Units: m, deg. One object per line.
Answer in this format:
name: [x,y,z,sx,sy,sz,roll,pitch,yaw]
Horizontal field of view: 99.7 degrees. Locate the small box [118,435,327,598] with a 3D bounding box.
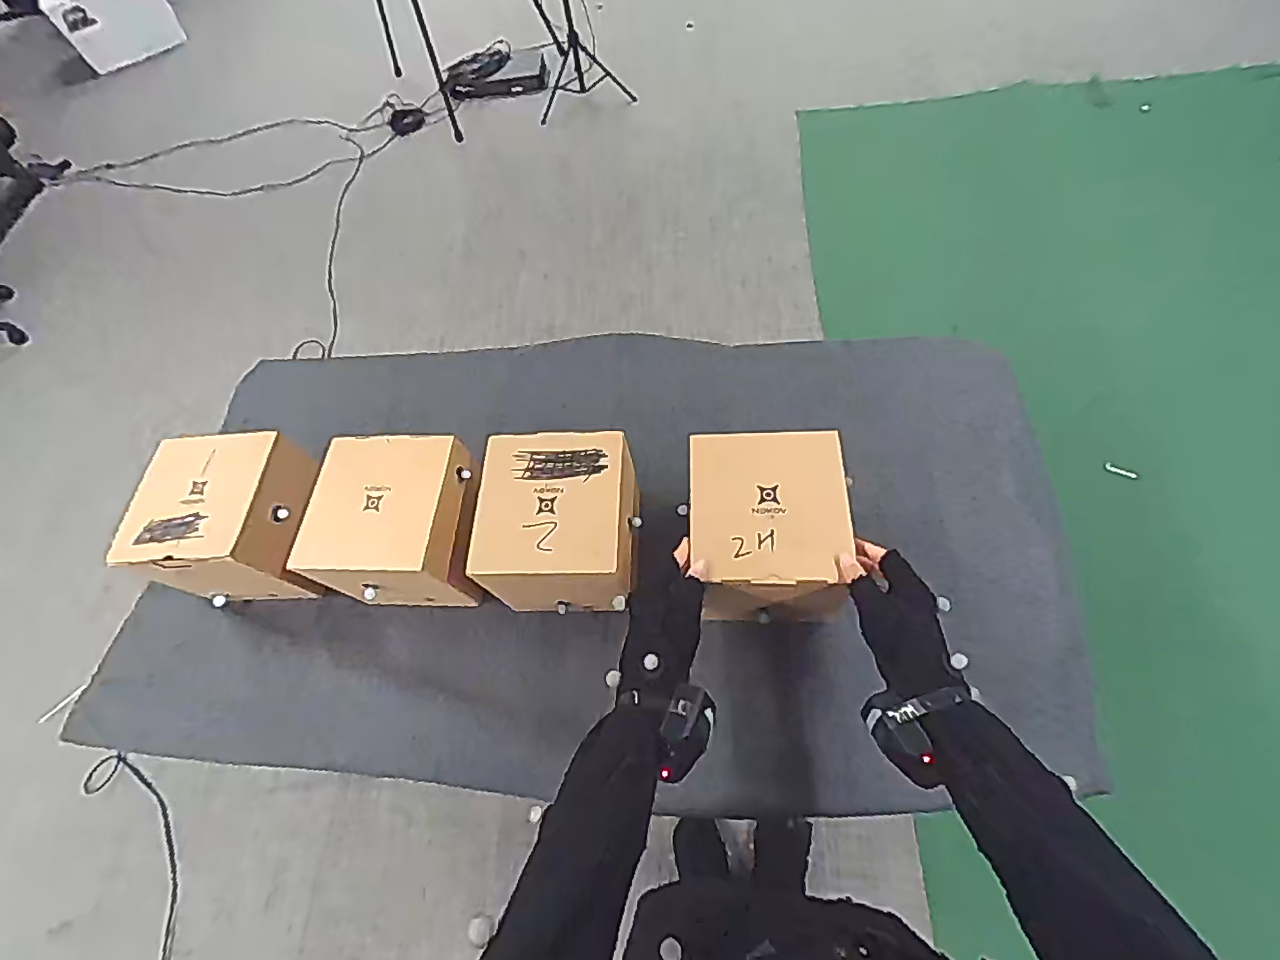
small box: [-0.531,0.059,0.742,0.168,0.176,0.179,-3,61,6]

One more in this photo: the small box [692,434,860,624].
small box: [0.148,0.063,0.644,0.168,0.176,0.179,-2,63,8]

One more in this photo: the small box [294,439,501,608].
small box: [-0.297,0.063,0.709,0.168,0.176,0.179,0,62,8]
